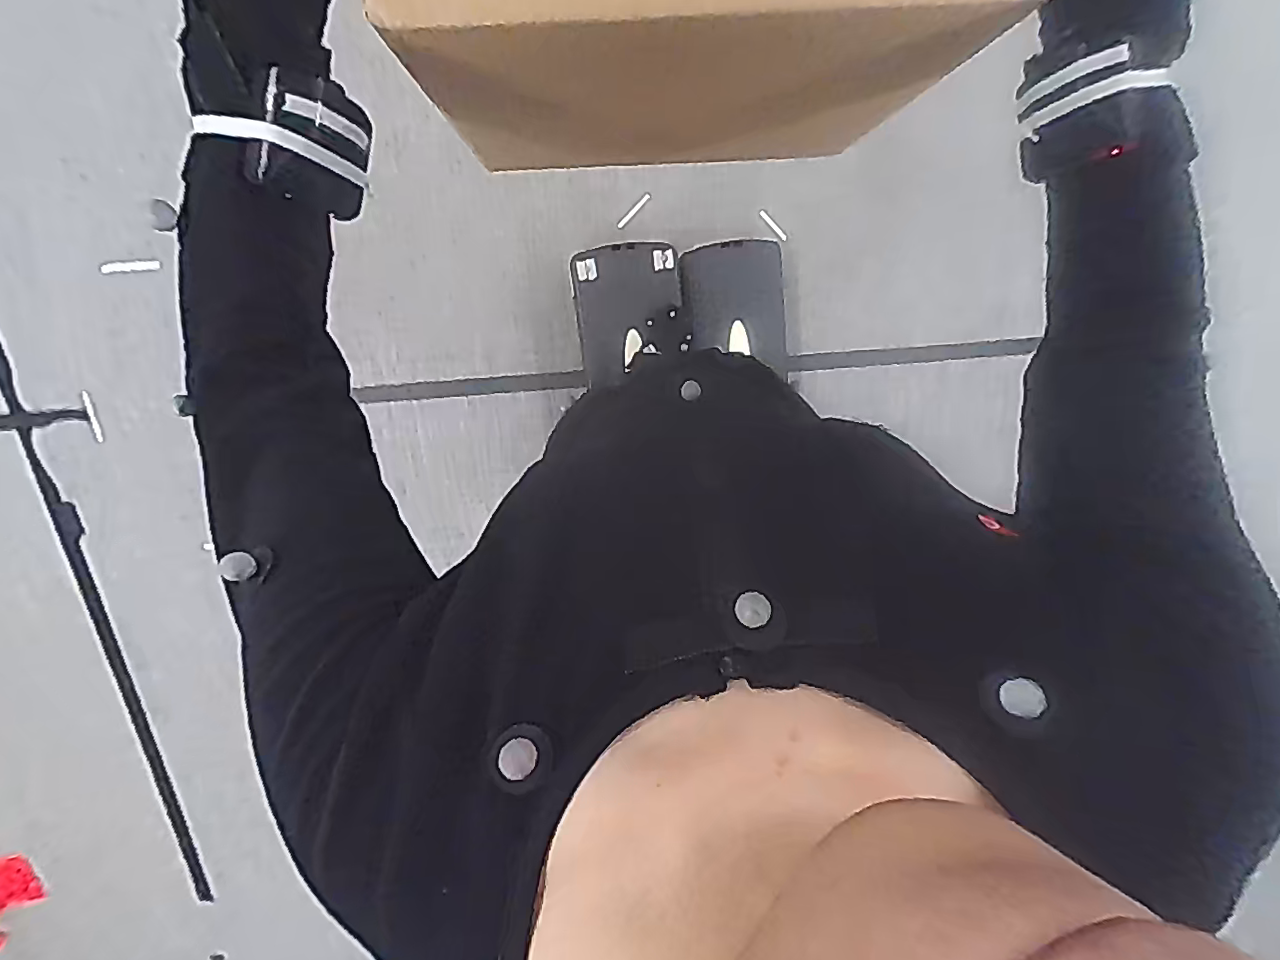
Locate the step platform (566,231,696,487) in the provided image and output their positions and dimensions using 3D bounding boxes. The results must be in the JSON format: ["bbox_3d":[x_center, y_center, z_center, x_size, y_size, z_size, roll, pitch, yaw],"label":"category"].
[{"bbox_3d":[-0.018,-0.321,1.513,0.286,0.204,0.684,-8,103,-2],"label":"step platform"}]

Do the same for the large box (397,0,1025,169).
[{"bbox_3d":[0.031,-0.470,0.431,0.408,0.320,0.320,-4,106,-3],"label":"large box"}]
